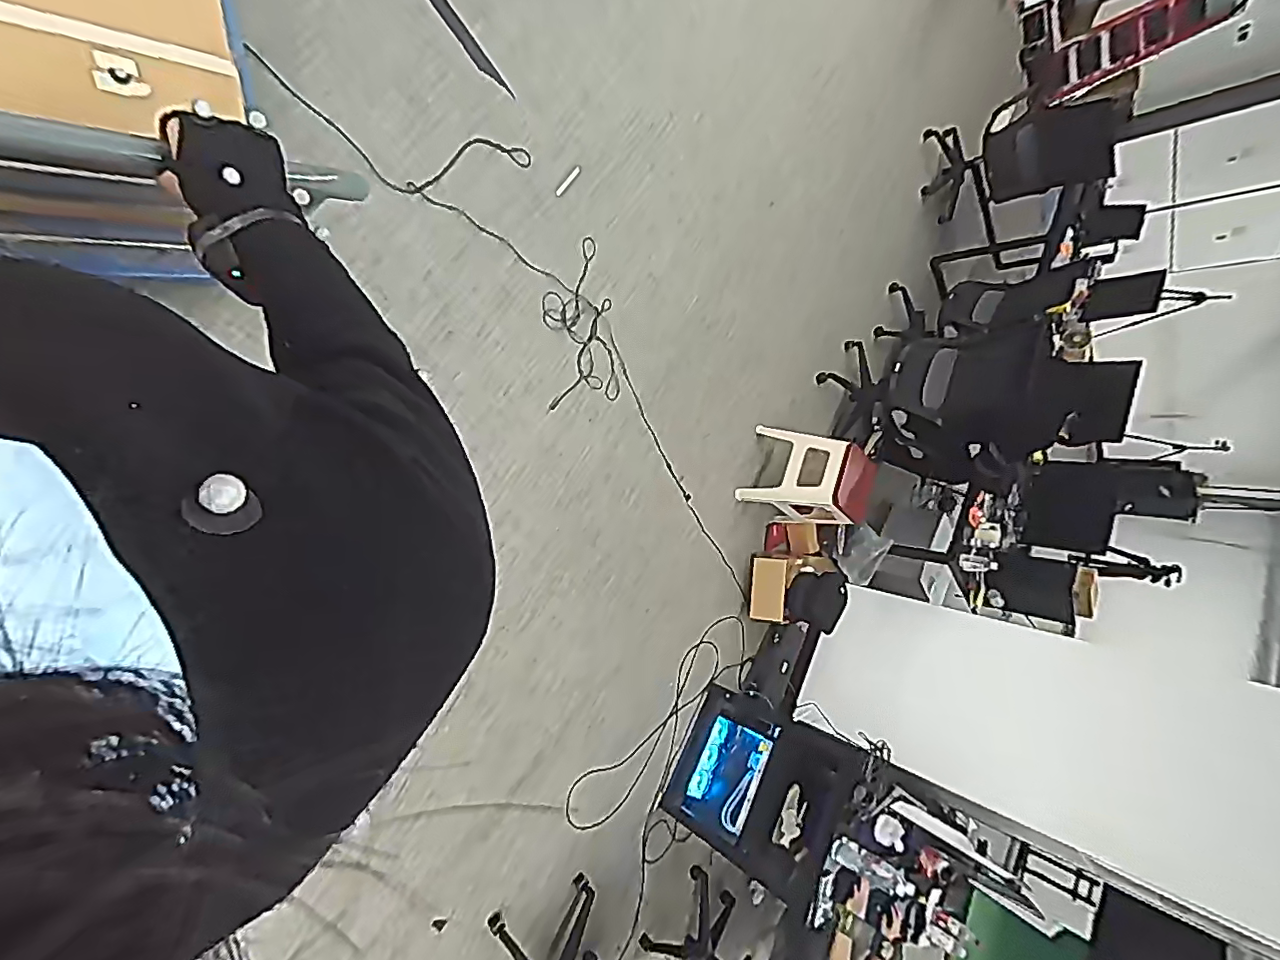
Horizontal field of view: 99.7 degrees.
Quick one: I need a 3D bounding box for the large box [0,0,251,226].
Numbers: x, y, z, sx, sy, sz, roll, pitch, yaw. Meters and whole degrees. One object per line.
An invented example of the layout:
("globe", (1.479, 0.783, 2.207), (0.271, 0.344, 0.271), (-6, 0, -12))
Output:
("large box", (-0.864, -0.587, 0.784), (0.408, 0.320, 0.320), (-15, 107, -43))
